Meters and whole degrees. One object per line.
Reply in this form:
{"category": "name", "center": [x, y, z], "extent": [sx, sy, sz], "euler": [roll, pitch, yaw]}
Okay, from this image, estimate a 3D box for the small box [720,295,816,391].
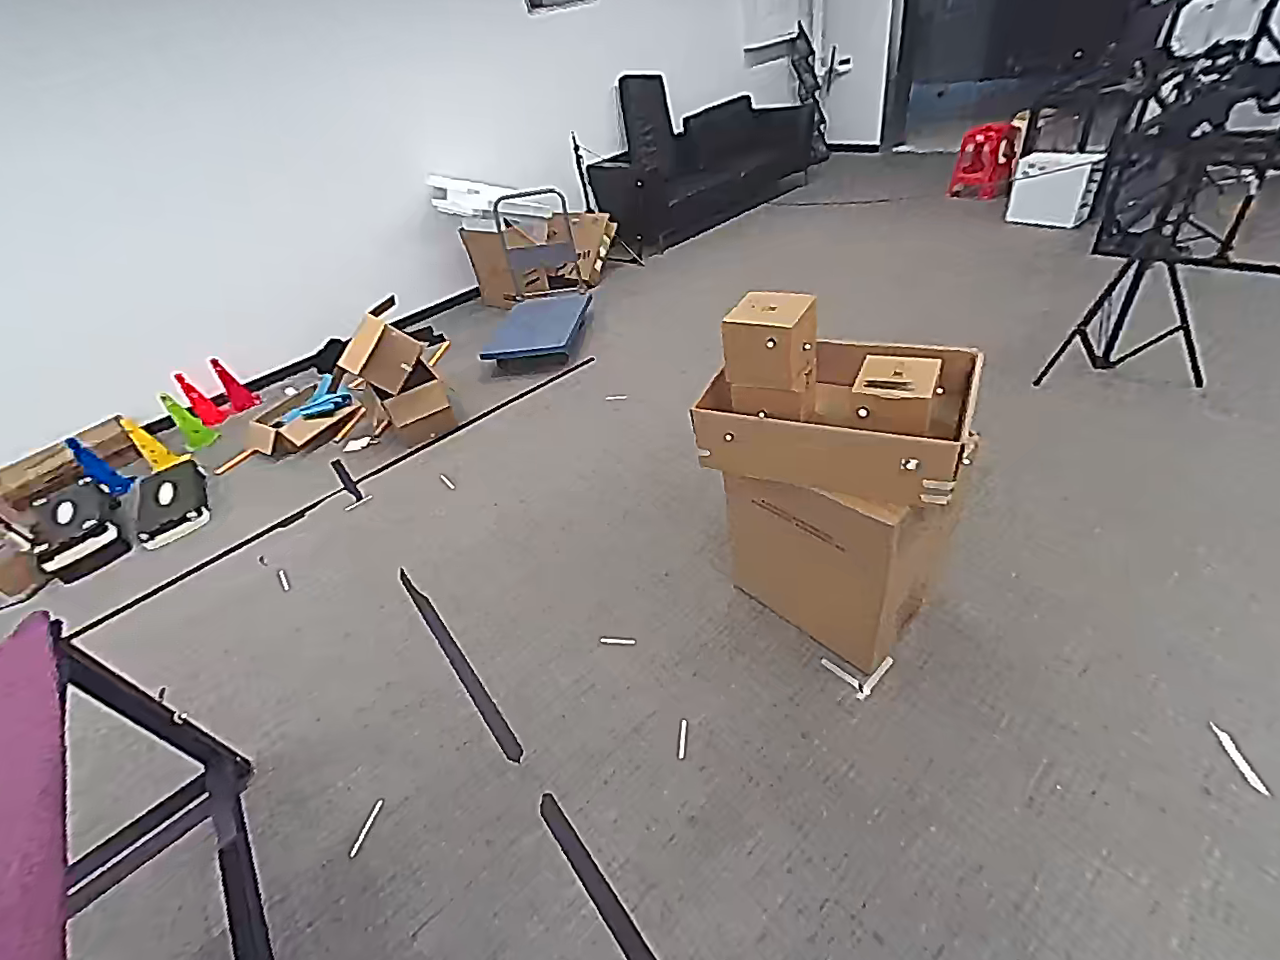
{"category": "small box", "center": [0.317, -0.335, 1.324], "extent": [0.179, 0.176, 0.168], "euler": [15, 48, 31]}
